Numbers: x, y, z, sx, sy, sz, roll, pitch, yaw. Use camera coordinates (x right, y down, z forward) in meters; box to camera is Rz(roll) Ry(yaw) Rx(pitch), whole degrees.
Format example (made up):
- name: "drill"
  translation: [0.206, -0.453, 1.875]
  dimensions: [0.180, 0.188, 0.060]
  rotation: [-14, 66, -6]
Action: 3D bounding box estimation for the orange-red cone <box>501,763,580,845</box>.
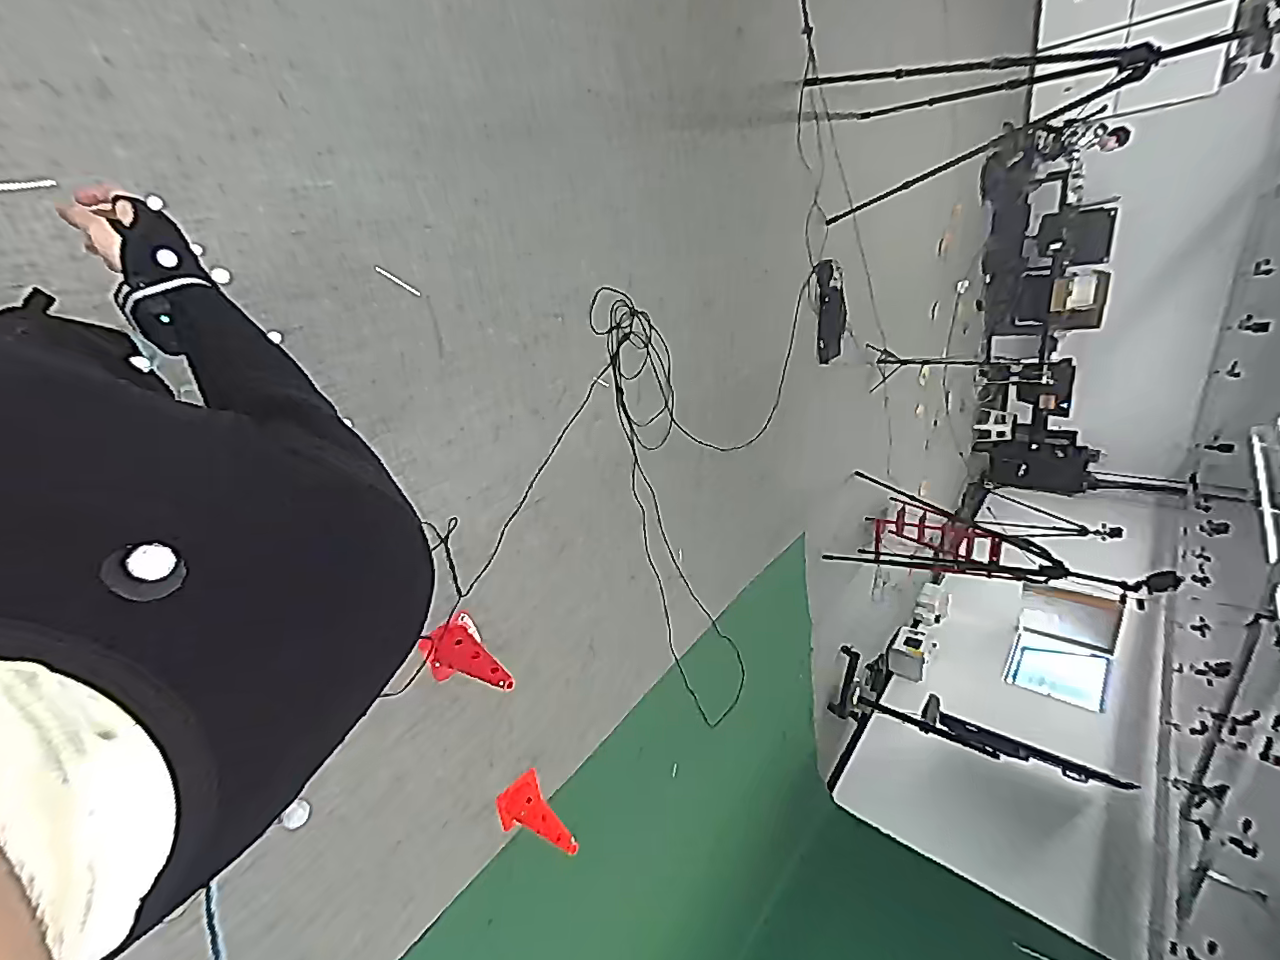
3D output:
- name: "orange-red cone"
  translation: [-0.377, 1.367, 2.208]
  dimensions: [0.199, 0.360, 0.198]
  rotation: [-27, 119, -44]
